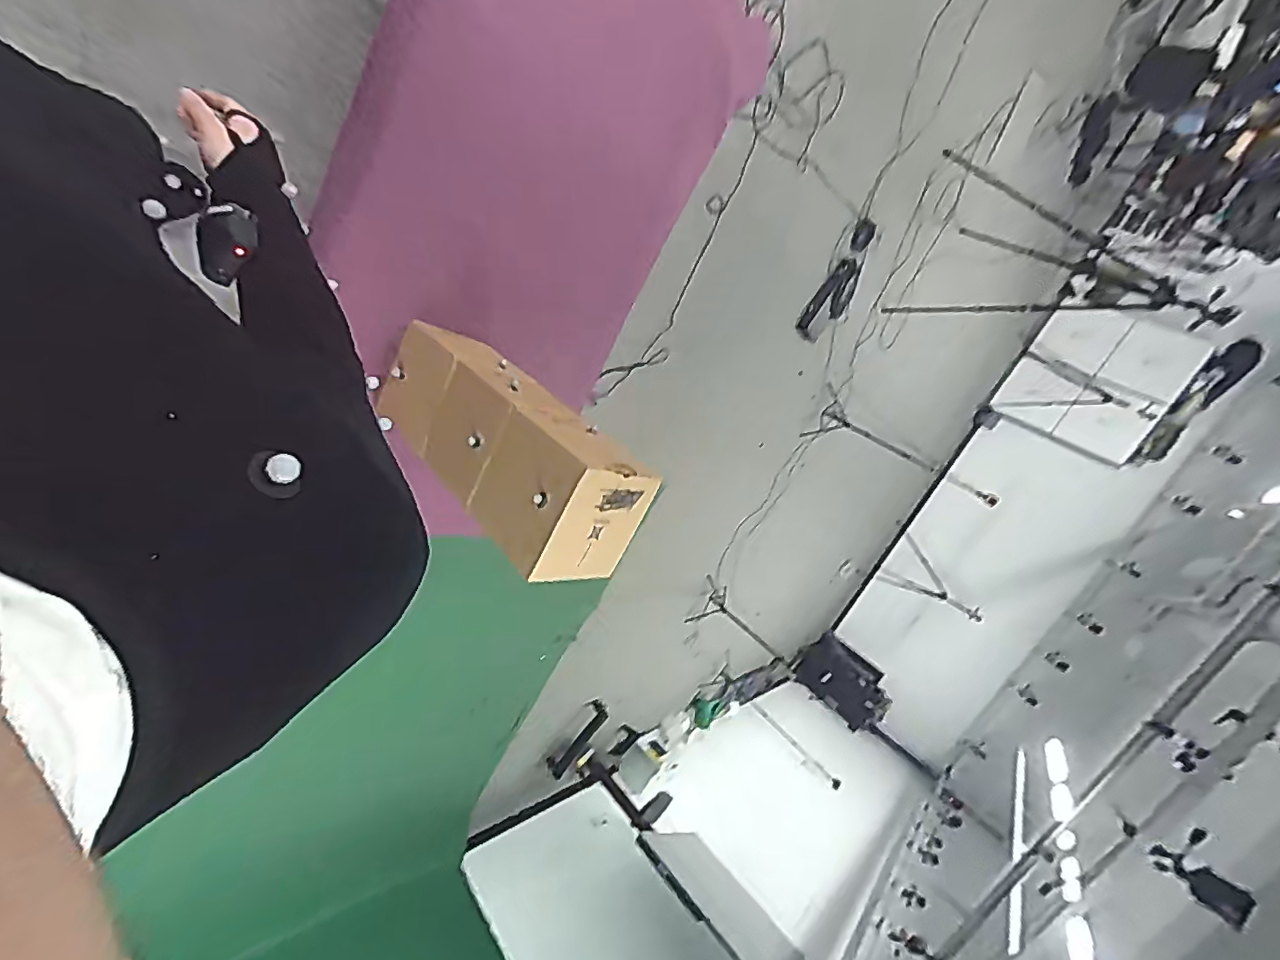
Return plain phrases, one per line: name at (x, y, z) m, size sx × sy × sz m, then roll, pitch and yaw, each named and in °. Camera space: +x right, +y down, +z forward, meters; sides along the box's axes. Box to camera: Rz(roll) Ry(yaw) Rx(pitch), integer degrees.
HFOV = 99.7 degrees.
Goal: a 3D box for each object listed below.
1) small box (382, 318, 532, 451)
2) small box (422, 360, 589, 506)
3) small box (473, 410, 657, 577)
small box at (-0.330, -0.157, 0.958) m, size 0.168 × 0.176 × 0.179 m, roll 8°, pitch 116°, yaw -54°
small box at (-0.221, -0.069, 0.872) m, size 0.168 × 0.176 × 0.179 m, roll 11°, pitch 113°, yaw -54°
small box at (-0.114, 0.019, 0.786) m, size 0.168 × 0.176 × 0.179 m, roll 10°, pitch 114°, yaw -53°
